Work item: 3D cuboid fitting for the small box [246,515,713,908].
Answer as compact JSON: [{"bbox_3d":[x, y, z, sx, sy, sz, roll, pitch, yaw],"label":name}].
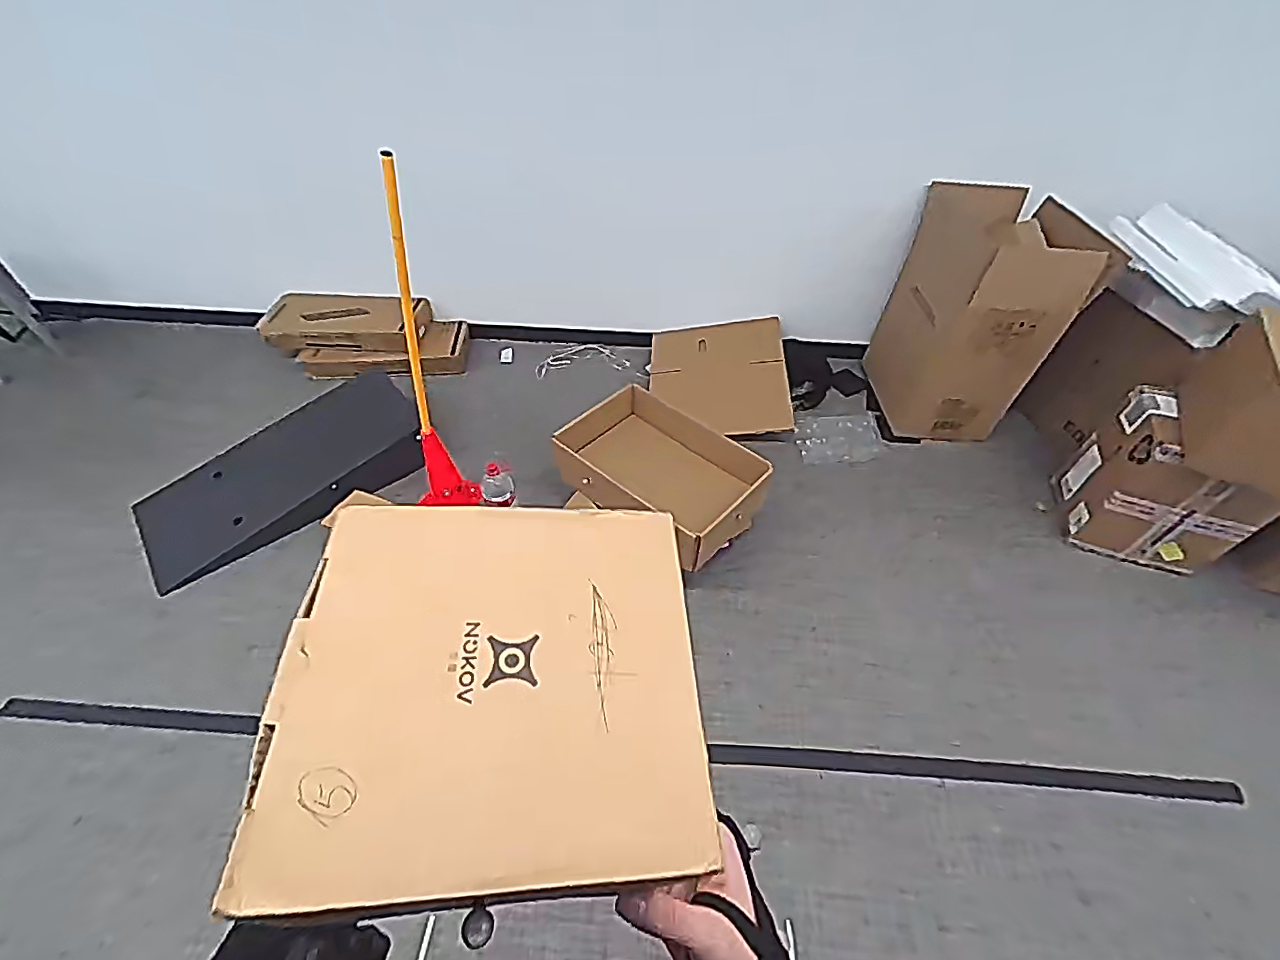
[{"bbox_3d":[-0.074,0.136,0.314,0.179,0.176,0.168,2,52,-11],"label":"small box"}]
